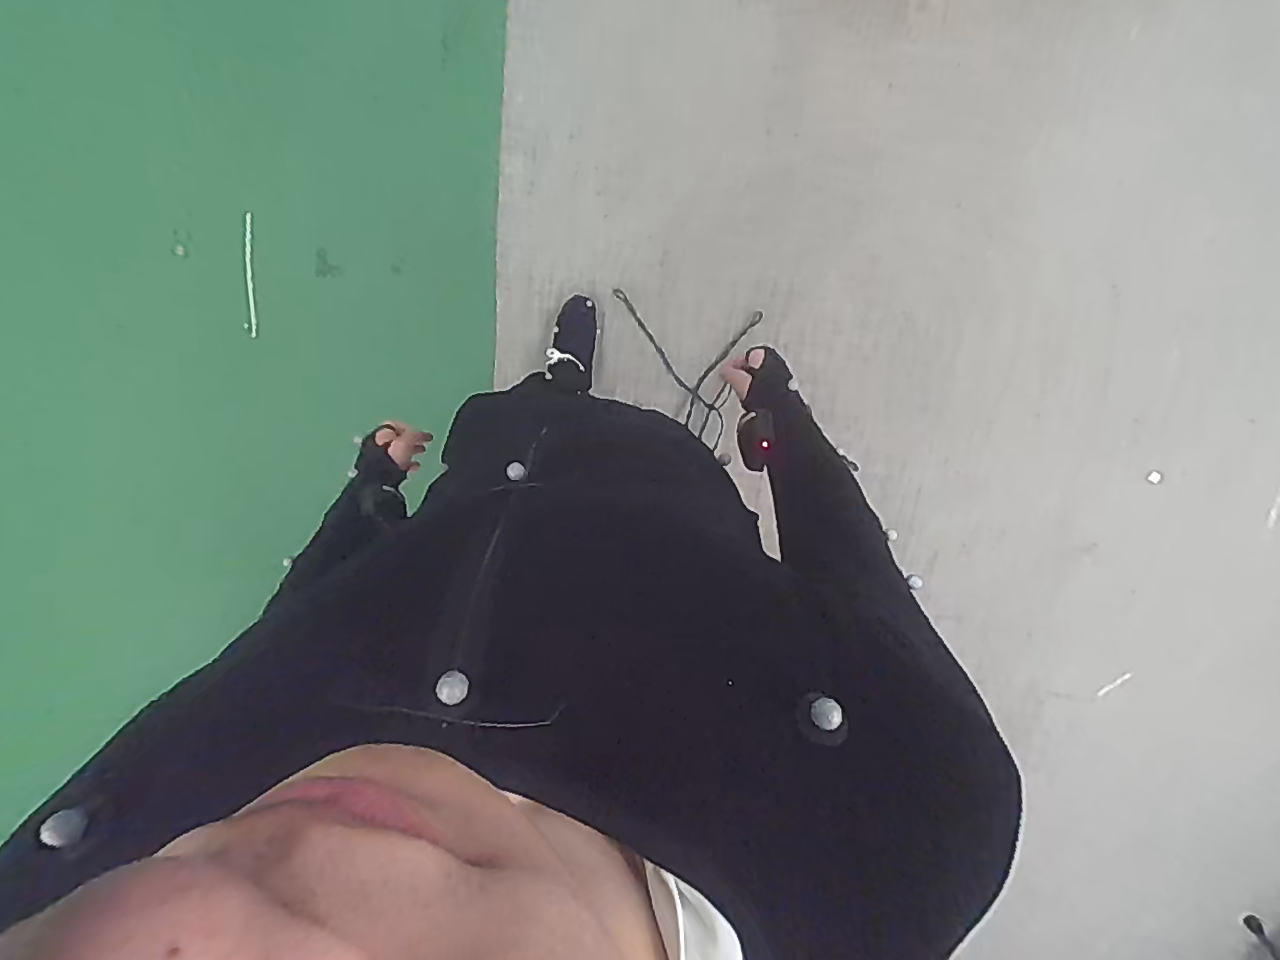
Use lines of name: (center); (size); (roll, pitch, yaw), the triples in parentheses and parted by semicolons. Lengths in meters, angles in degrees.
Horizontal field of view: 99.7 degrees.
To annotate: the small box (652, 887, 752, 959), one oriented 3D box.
small box: (0.115, 0.923, 1.023); (0.168, 0.176, 0.179); (6, 104, -4)
